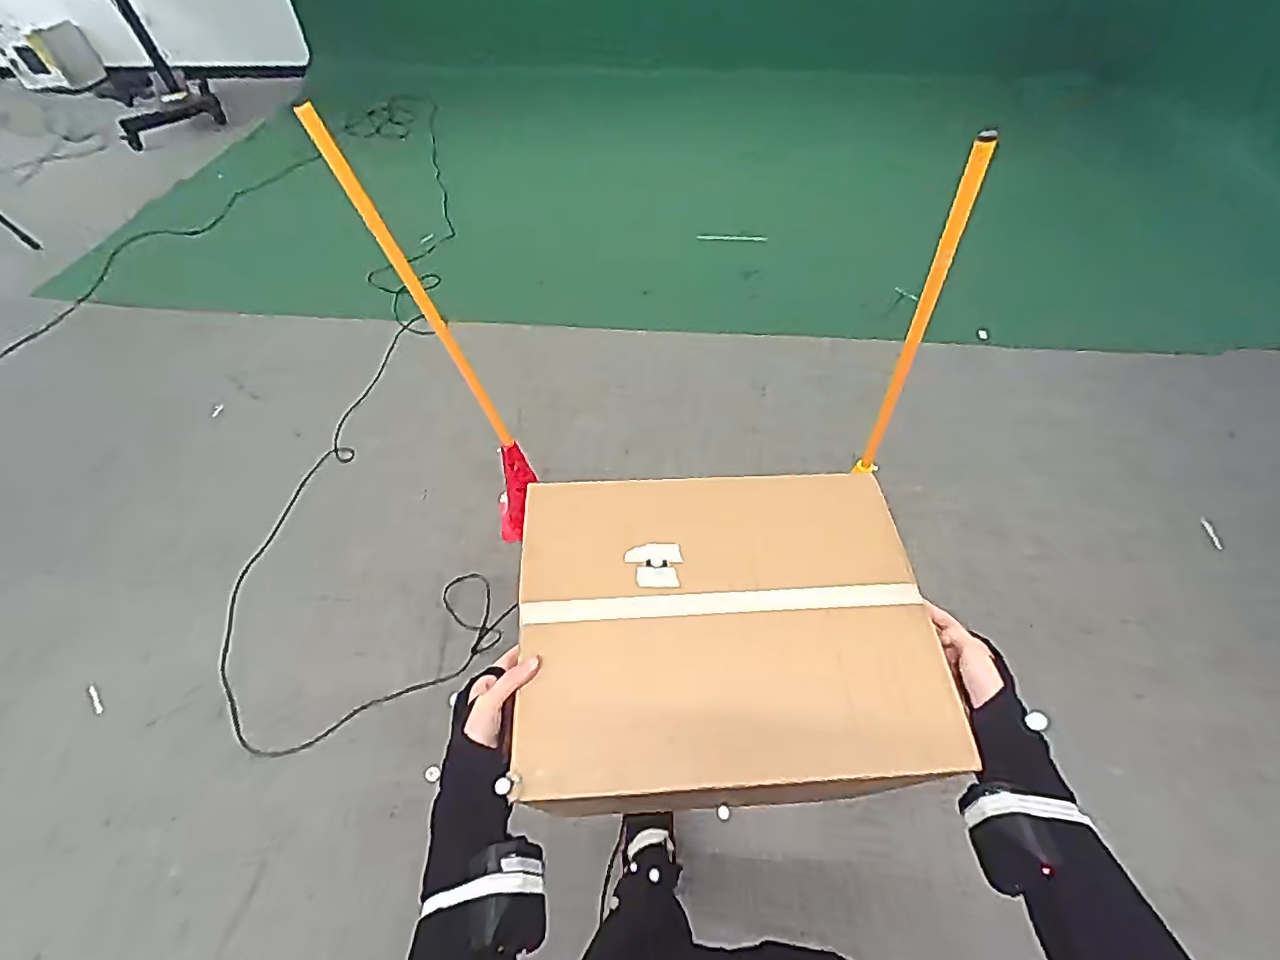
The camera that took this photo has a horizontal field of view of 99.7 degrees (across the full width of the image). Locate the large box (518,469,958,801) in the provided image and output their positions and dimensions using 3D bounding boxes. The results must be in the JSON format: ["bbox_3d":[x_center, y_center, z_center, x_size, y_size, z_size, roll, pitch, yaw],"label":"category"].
[{"bbox_3d":[0.081,0.206,0.681,0.408,0.320,0.320,-3,56,-3],"label":"large box"}]
